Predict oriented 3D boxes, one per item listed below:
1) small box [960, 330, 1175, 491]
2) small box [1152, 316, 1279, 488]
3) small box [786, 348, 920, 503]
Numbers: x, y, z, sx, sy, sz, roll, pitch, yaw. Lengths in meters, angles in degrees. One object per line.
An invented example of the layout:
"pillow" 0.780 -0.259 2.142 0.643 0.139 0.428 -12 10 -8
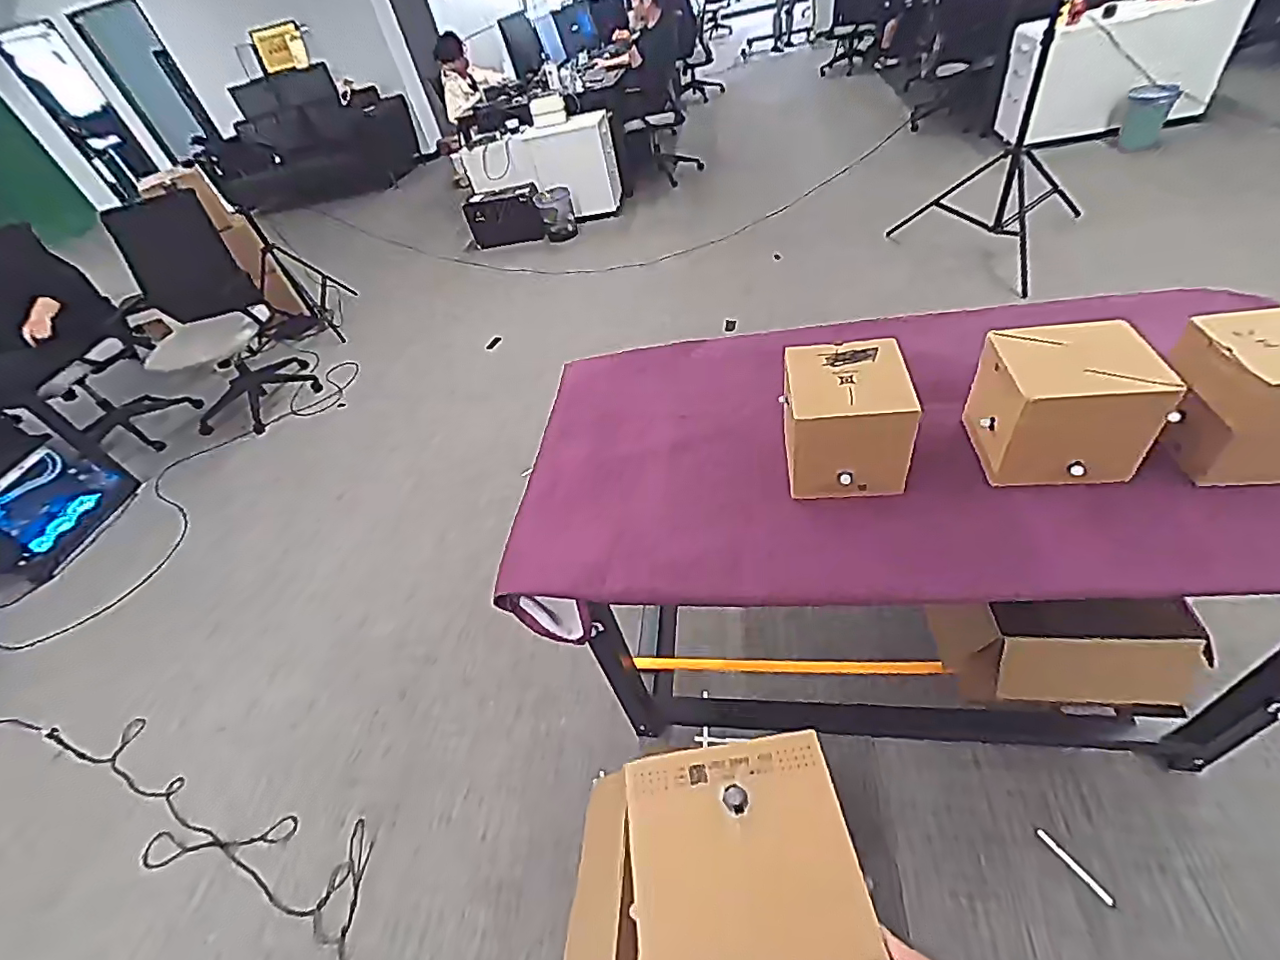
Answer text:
"small box" 0.601 -0.101 0.787 0.179 0.176 0.168 -3 44 14
"small box" 0.839 -0.103 0.724 0.179 0.176 0.168 -2 43 13
"small box" 0.319 -0.084 0.851 0.168 0.176 0.179 -3 45 12
